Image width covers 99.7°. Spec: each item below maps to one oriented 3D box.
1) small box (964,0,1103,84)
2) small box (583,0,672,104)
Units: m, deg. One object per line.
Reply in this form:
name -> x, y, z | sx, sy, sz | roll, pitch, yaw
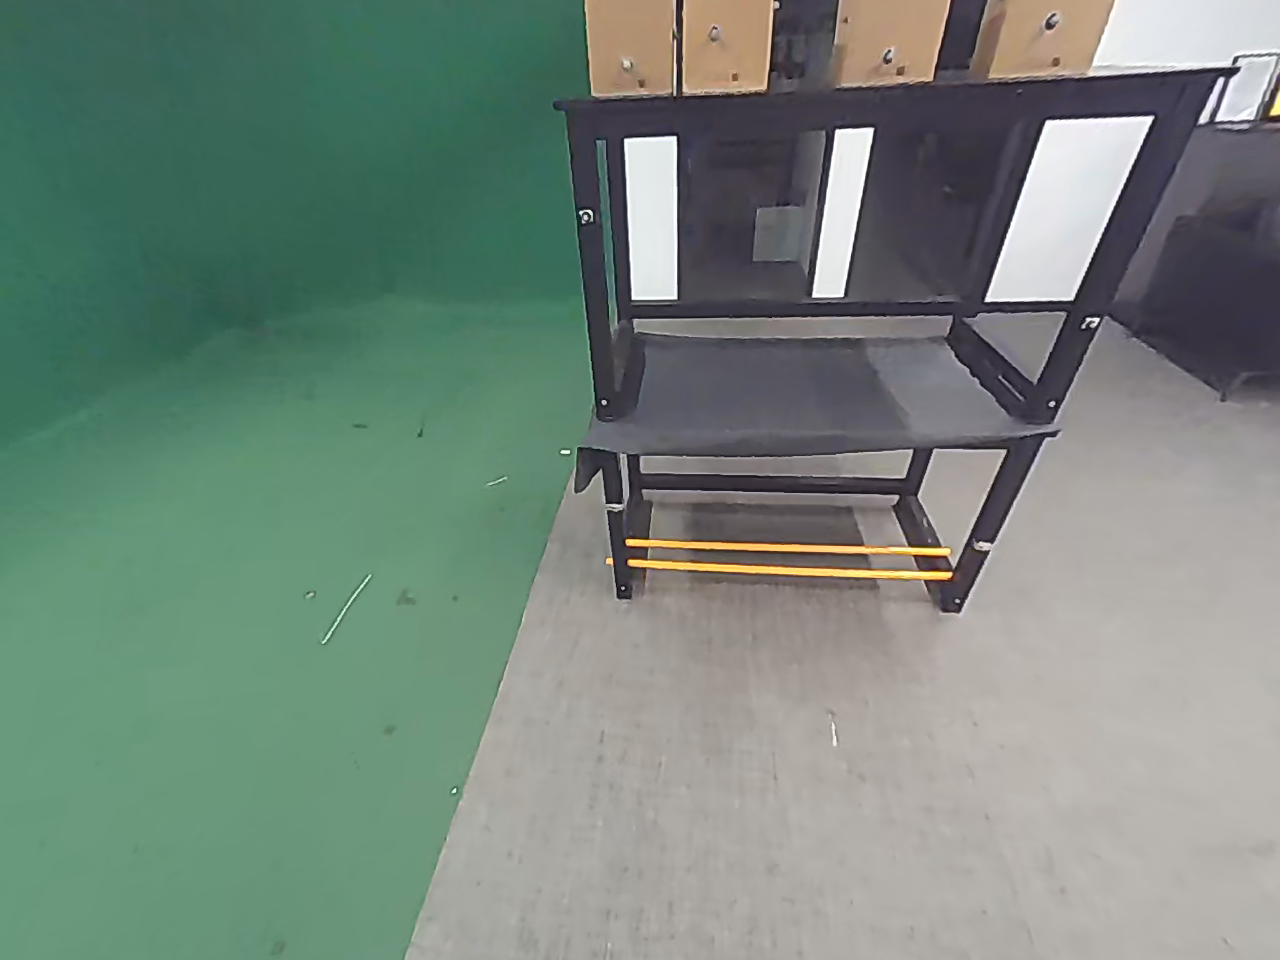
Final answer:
small box -> 0.737, -0.855, 1.015 | 0.168, 0.176, 0.179 | 7, 38, 13
small box -> -0.019, -0.885, 1.117 | 0.168, 0.176, 0.179 | 0, 38, 4
